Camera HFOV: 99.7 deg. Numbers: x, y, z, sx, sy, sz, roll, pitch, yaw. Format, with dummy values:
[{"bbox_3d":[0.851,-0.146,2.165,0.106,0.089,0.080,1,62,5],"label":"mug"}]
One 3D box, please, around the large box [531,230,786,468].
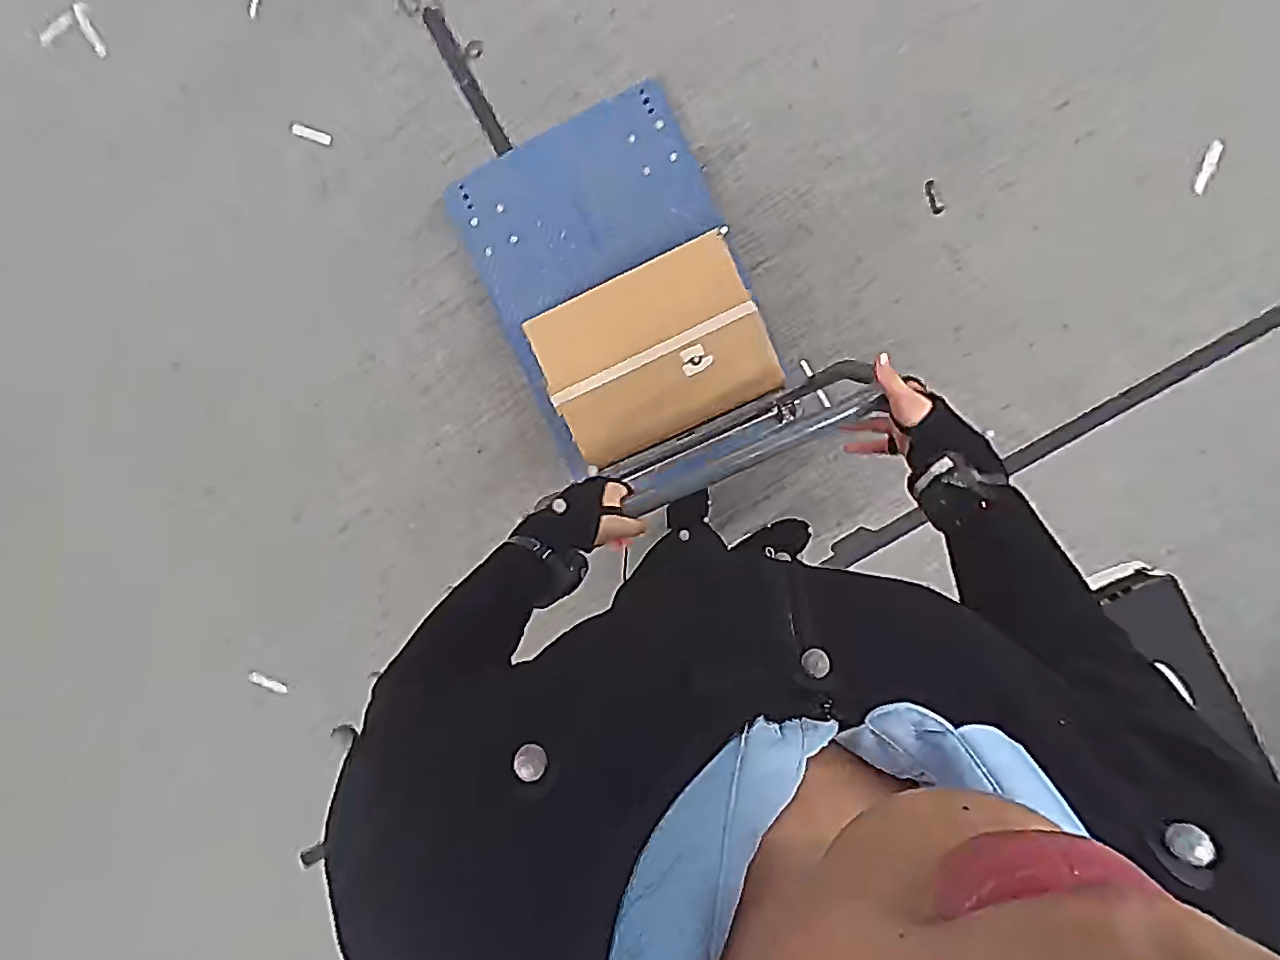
[{"bbox_3d":[0.041,-0.248,1.159,0.408,0.320,0.320,-24,93,5],"label":"large box"}]
